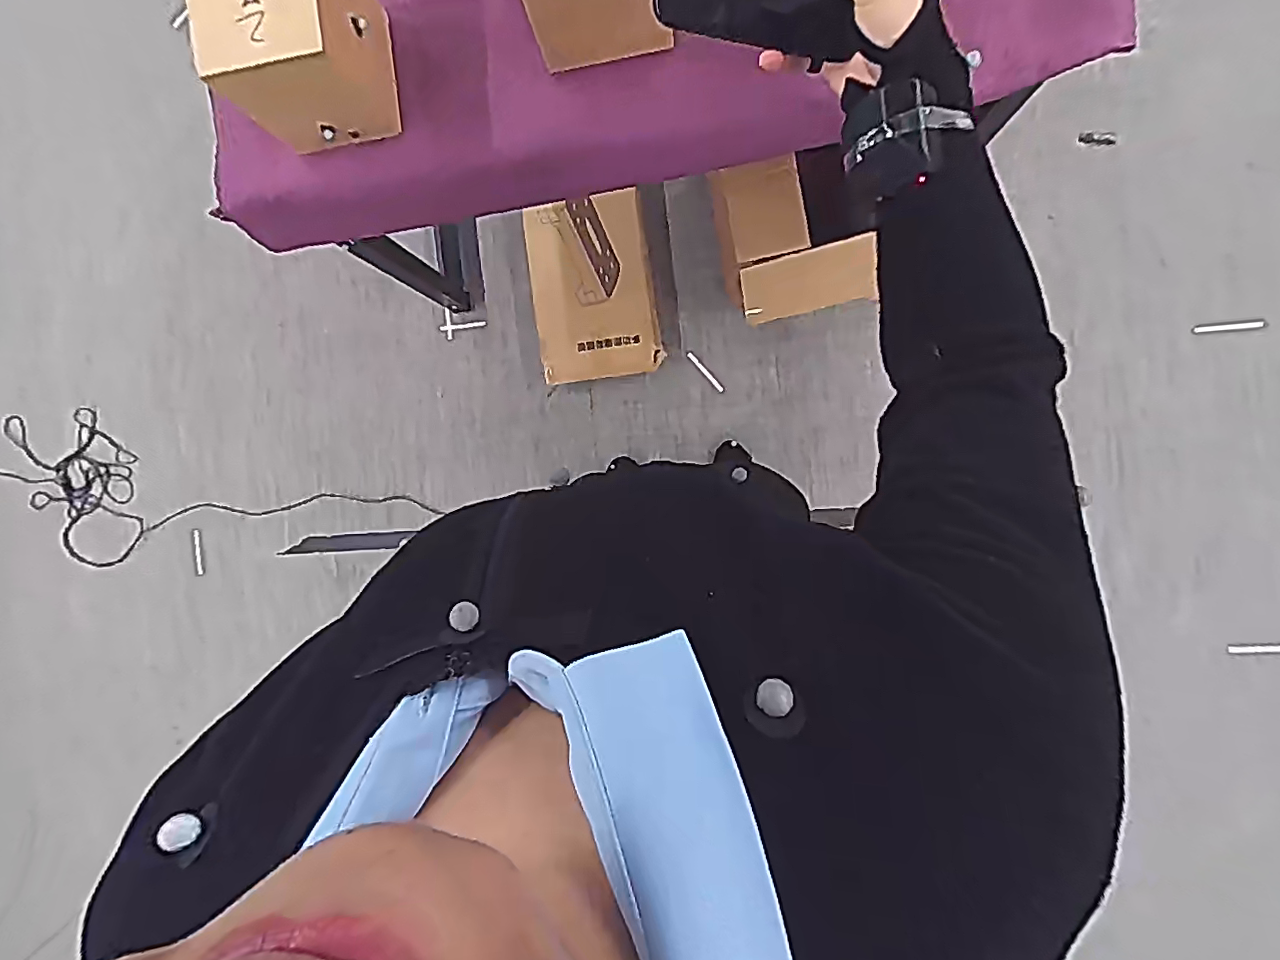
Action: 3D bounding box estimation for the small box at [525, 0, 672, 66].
[{"bbox_3d":[-0.055,-0.651,0.652,0.179,0.176,0.168,-7,89,7],"label":"small box"}]
